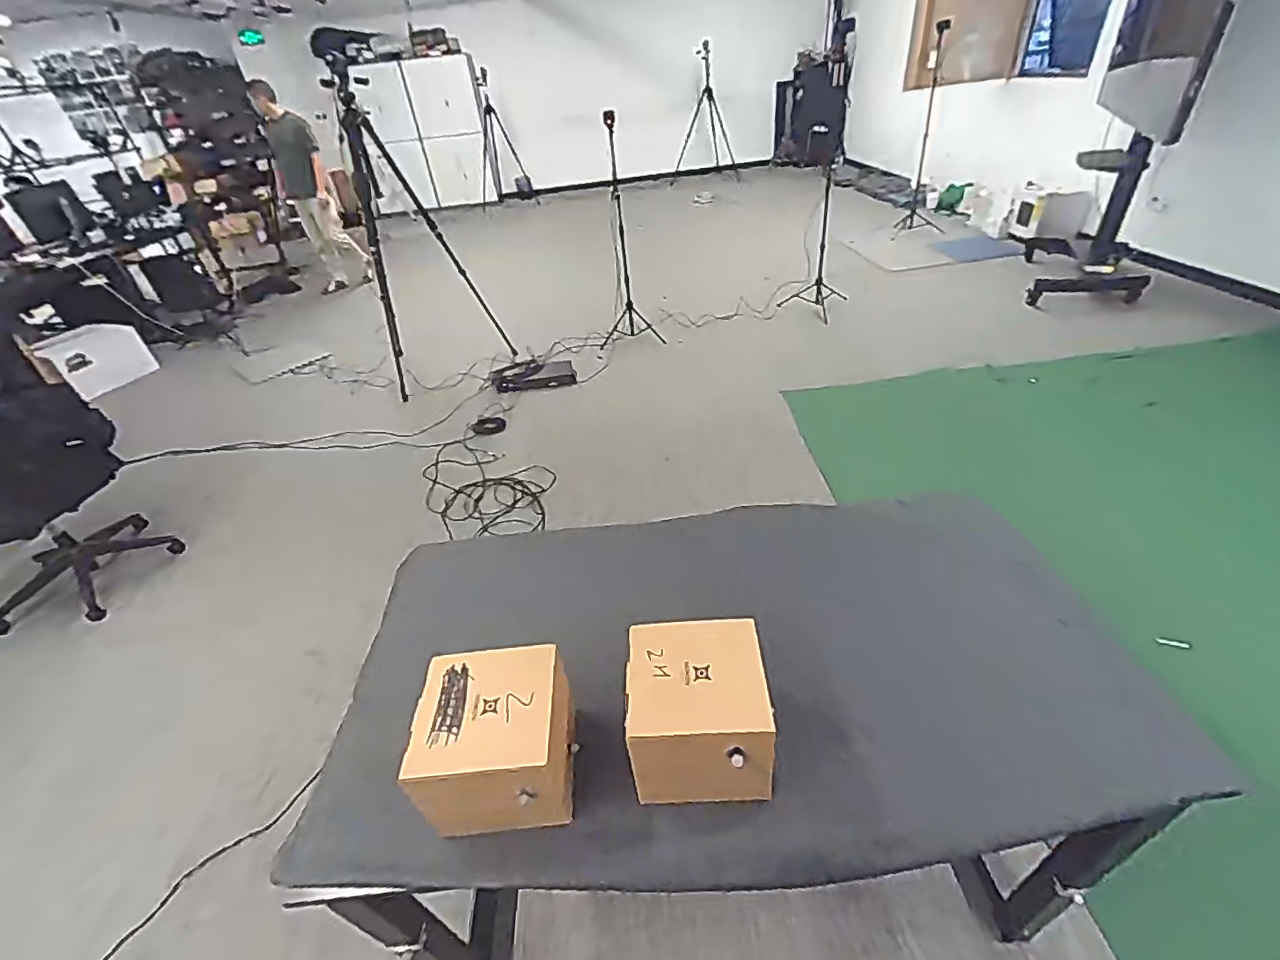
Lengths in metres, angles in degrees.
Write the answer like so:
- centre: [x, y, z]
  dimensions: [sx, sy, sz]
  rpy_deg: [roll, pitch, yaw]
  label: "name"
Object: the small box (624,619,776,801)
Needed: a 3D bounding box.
- centre: [0.079, 0.310, 0.730]
  dimensions: [0.179, 0.176, 0.168]
  rpy_deg: [-5, 35, 5]
  label: "small box"
